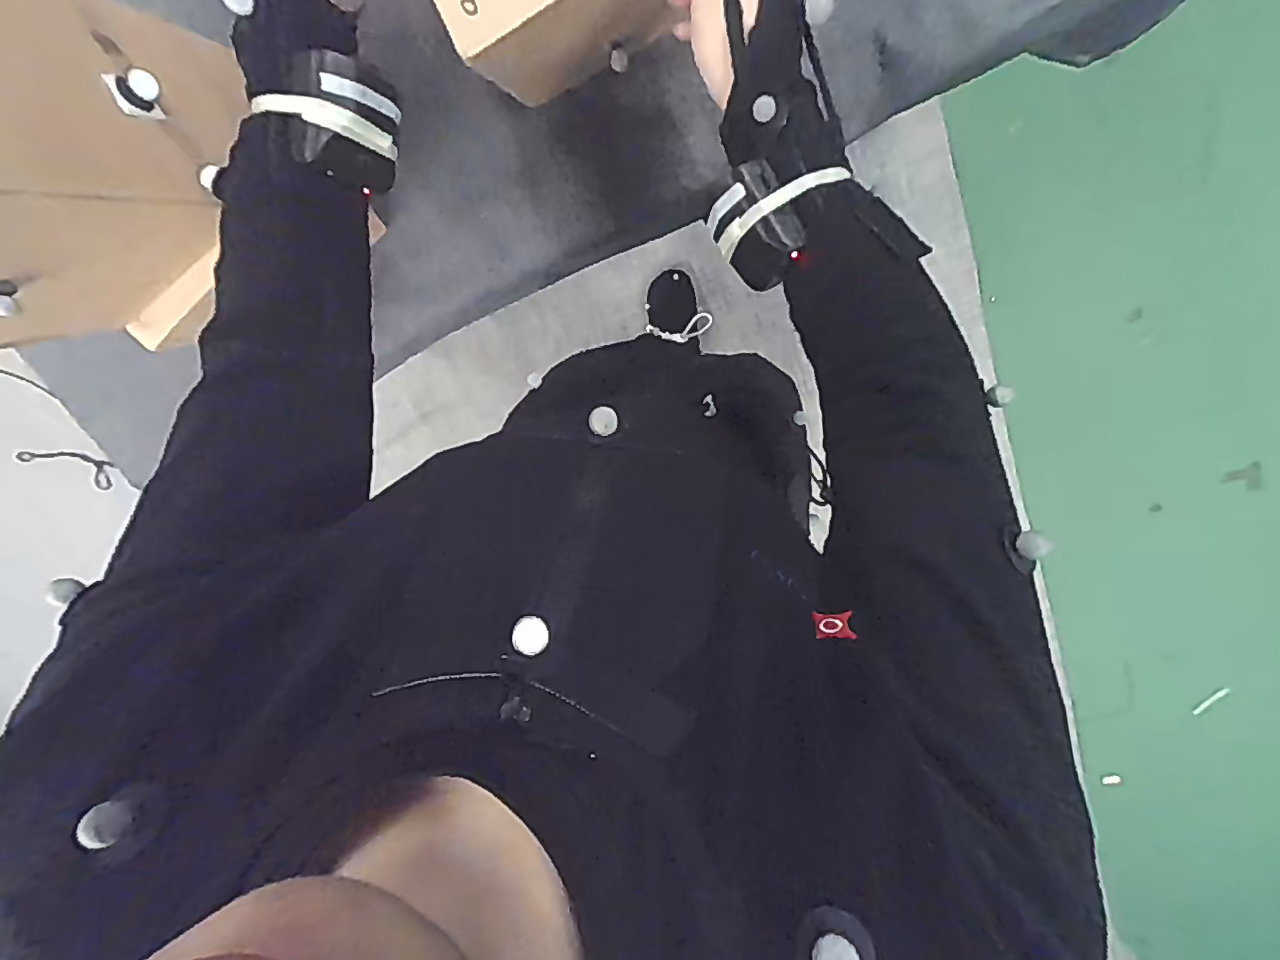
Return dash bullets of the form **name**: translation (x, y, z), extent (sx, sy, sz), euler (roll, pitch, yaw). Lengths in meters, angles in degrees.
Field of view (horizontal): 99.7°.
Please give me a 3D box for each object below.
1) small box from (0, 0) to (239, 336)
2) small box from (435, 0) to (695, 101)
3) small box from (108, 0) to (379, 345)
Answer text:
- **small box**: translation (-0.393, -0.191, 0.309), extent (0.179, 0.176, 0.168), euler (-27, 110, 16)
- **small box**: translation (-0.057, -0.391, 0.357), extent (0.179, 0.176, 0.168), euler (-20, 113, 16)
- **small box**: translation (-0.373, -0.244, 0.462), extent (0.168, 0.176, 0.179), euler (-30, 108, 18)
